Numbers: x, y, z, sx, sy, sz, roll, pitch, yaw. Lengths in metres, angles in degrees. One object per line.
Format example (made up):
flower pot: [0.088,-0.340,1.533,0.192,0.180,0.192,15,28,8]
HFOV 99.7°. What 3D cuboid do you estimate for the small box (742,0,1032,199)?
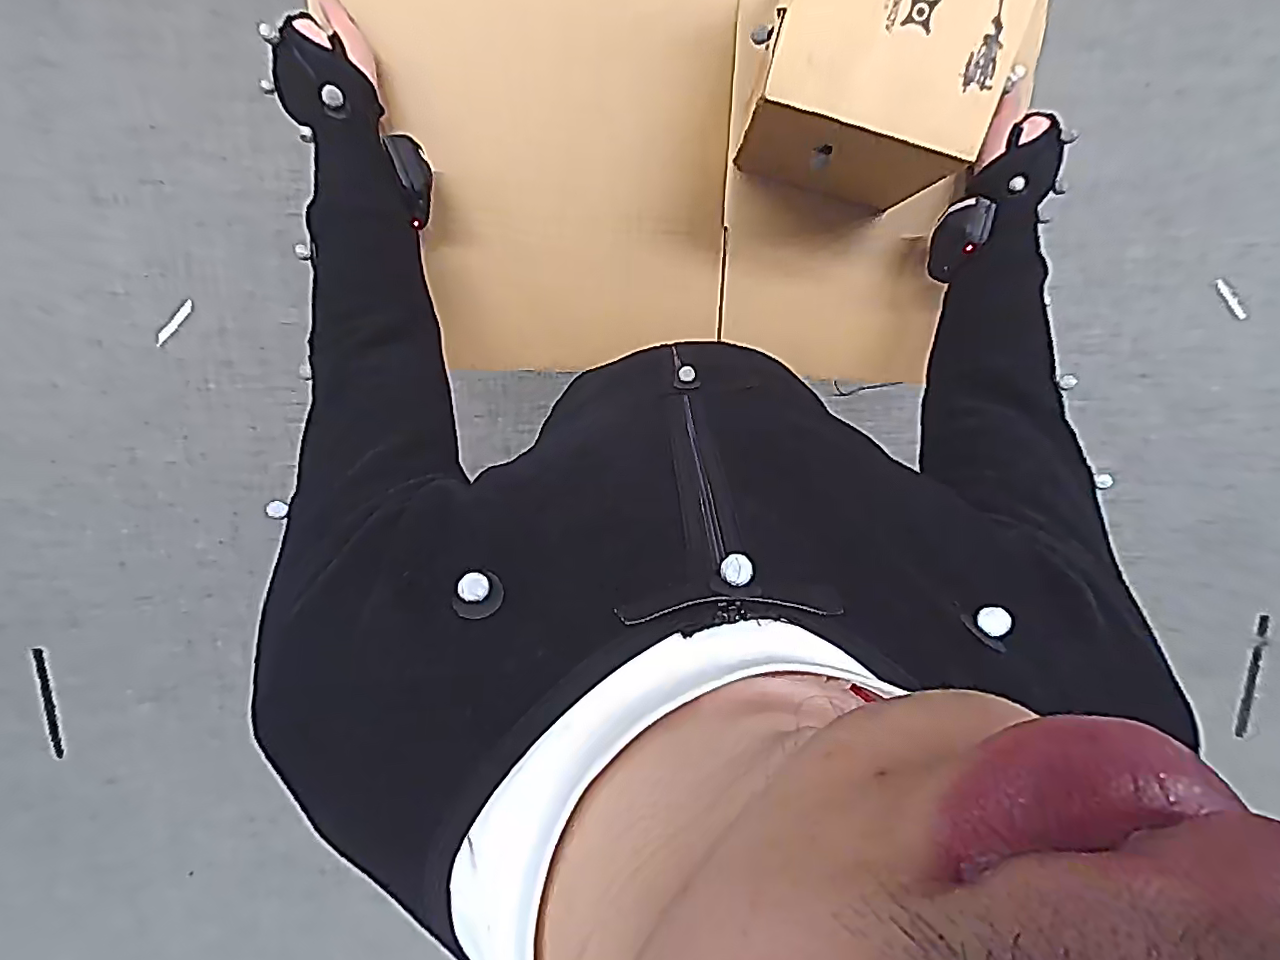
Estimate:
small box: [0.201,-0.371,0.476,0.179,0.176,0.168,16,105,-1]
